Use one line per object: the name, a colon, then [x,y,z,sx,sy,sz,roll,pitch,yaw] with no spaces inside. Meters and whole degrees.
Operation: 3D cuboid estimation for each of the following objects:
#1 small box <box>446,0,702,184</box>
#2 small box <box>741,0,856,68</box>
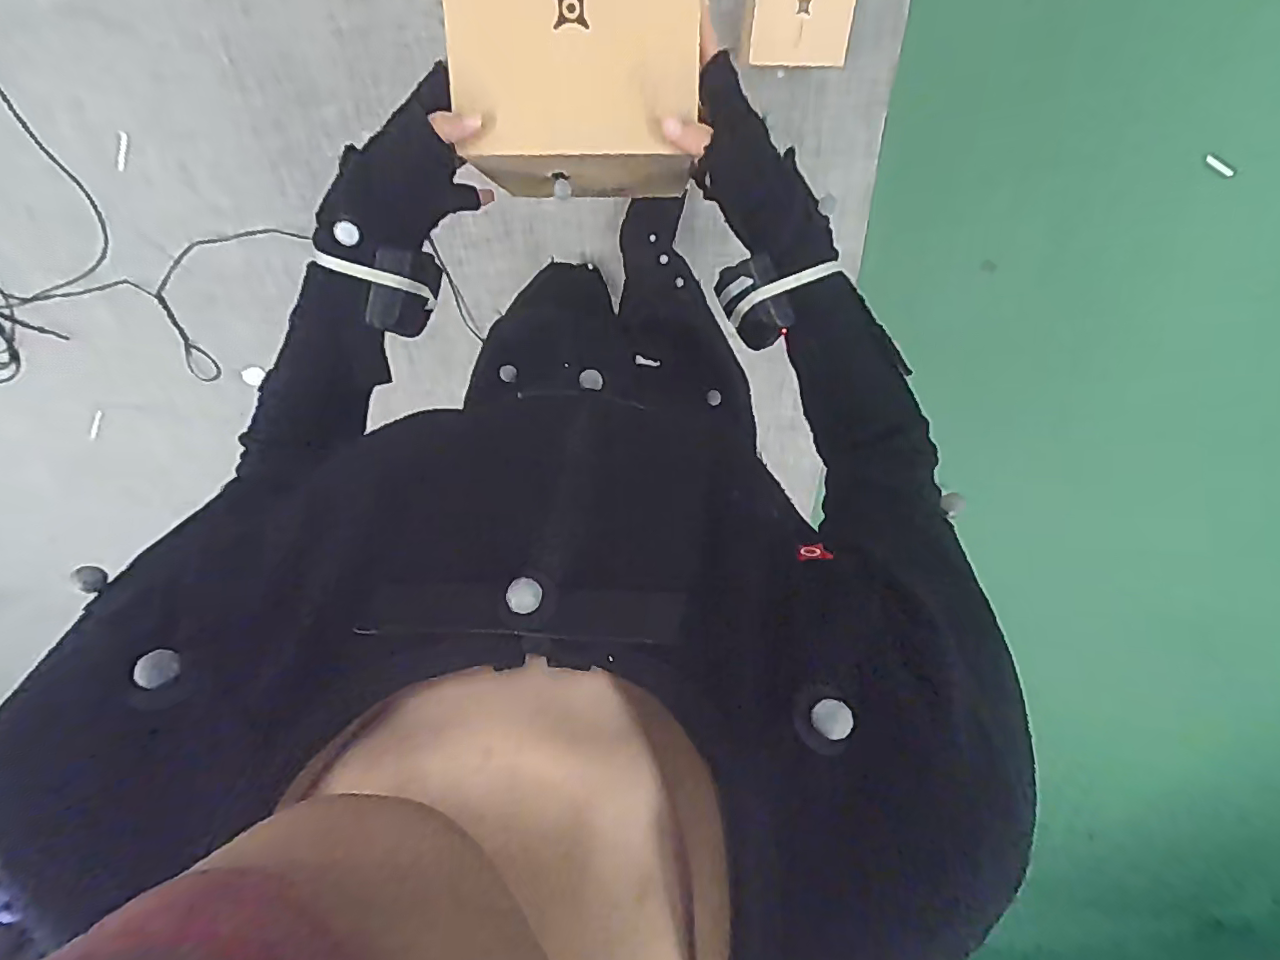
small box: [-0.039,-0.337,0.413,0.168,0.176,0.179,0,108,1]
small box: [0.273,-0.834,0.944,0.168,0.176,0.179,3,127,2]
